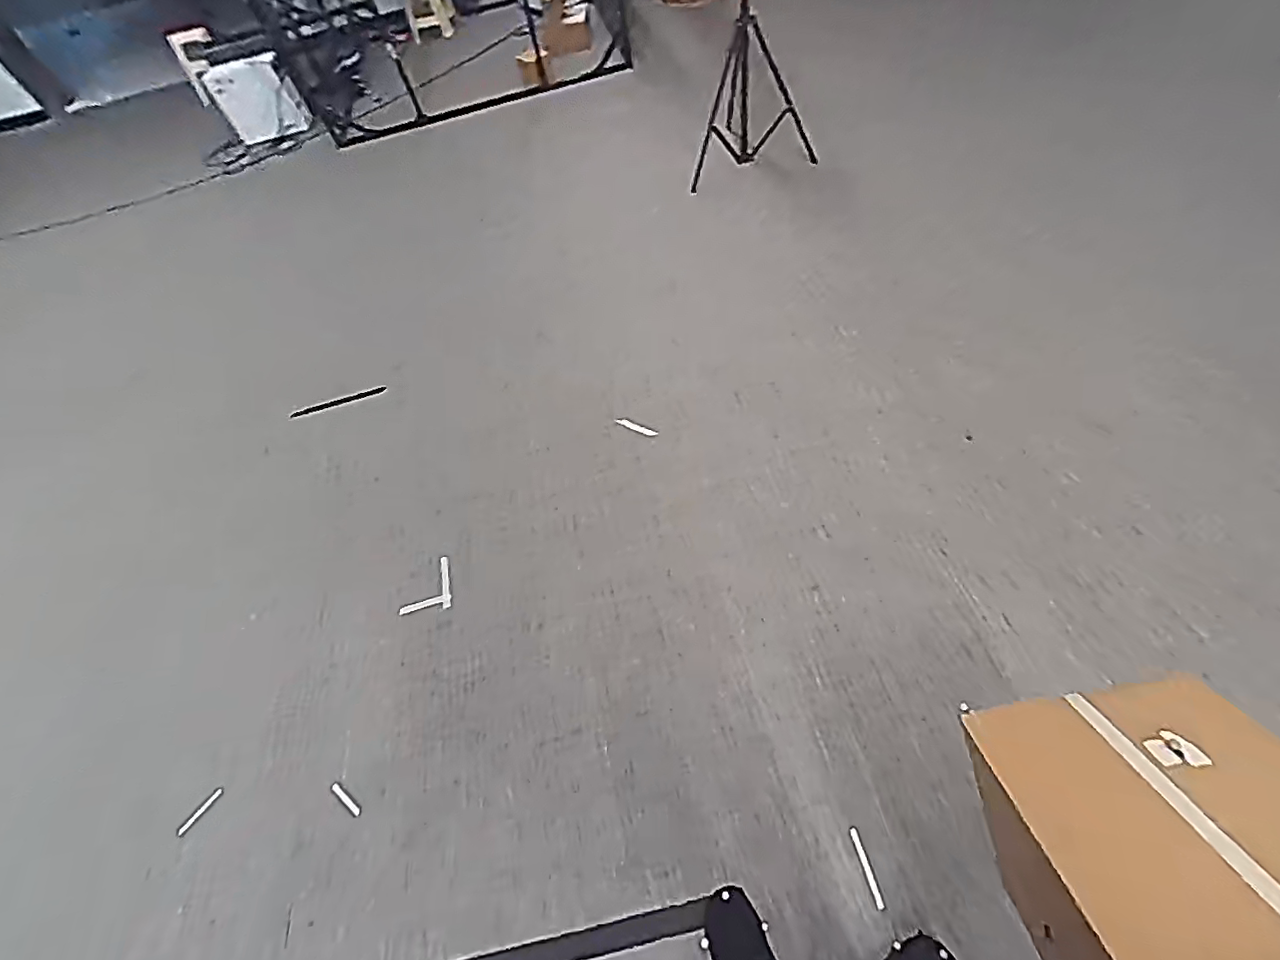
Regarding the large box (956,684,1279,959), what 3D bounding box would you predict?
[{"bbox_3d":[0.655,0.518,0.646,0.320,0.320,0.408,-16,9,12],"label":"large box"}]
